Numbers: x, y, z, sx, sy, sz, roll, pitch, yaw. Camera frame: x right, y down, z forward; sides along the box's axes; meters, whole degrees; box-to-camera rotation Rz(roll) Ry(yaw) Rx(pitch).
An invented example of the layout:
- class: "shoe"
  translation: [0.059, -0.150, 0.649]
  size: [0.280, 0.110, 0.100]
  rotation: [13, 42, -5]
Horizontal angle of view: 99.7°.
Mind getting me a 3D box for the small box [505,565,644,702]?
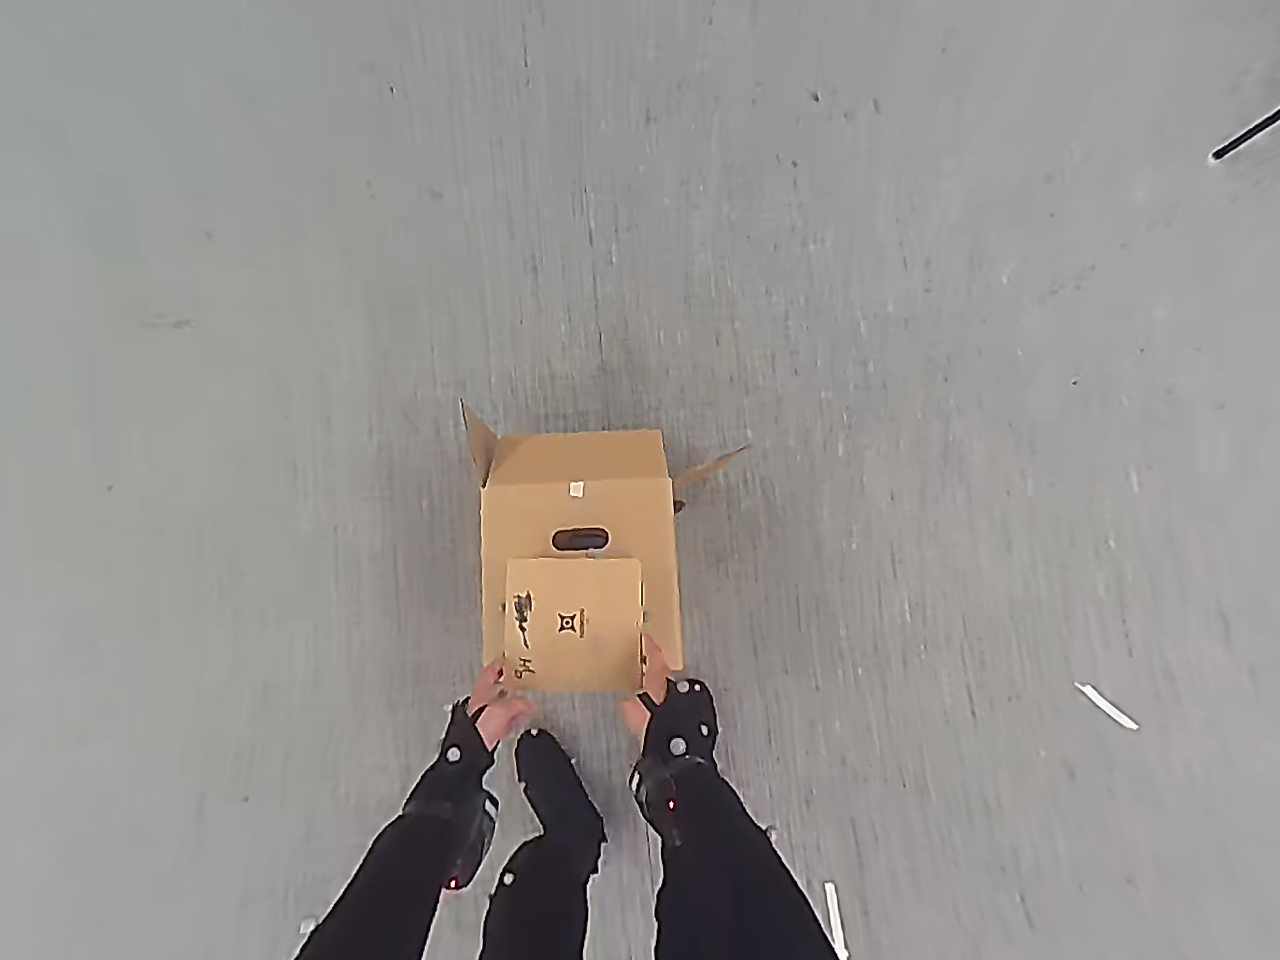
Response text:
- class: "small box"
  translation: [-0.087, 0.208, 0.771]
  size: [0.179, 0.176, 0.168]
  rotation: [1, 83, -2]
